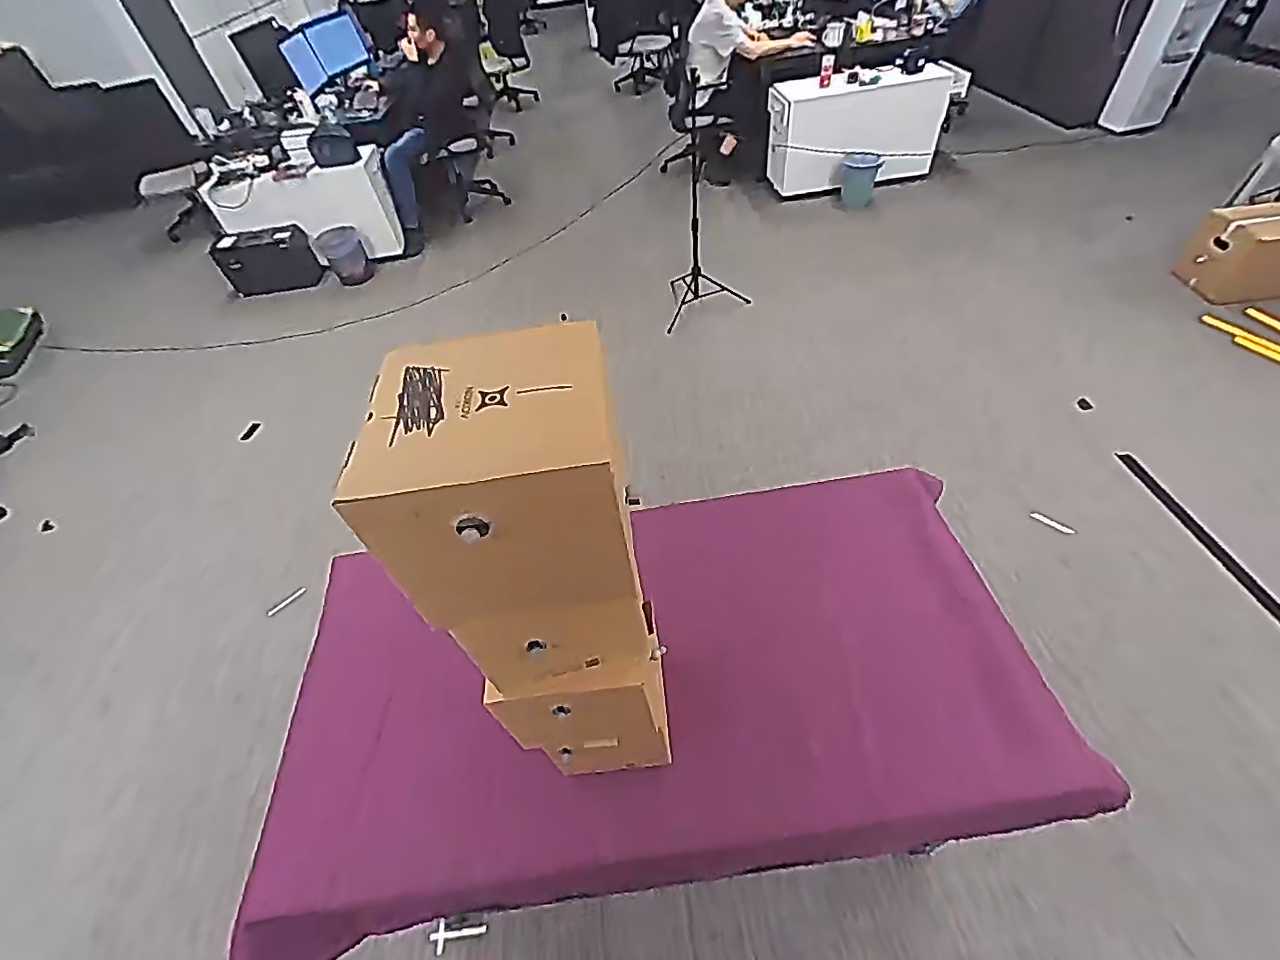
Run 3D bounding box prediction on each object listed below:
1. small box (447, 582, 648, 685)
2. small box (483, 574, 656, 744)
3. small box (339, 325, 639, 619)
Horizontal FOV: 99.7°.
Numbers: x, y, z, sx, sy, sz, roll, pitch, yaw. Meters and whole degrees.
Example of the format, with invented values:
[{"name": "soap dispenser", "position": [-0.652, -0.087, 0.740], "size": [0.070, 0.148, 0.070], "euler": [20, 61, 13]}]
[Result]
[{"name": "small box", "position": [-0.092, 0.099, 0.577], "size": [0.168, 0.176, 0.179], "euler": [-13, 47, -3]}, {"name": "small box", "position": [-0.079, 0.221, 0.686], "size": [0.179, 0.176, 0.168], "euler": [-7, 48, 2]}, {"name": "small box", "position": [-0.102, -0.002, 0.447], "size": [0.179, 0.176, 0.168], "euler": [-8, 47, 0]}]
